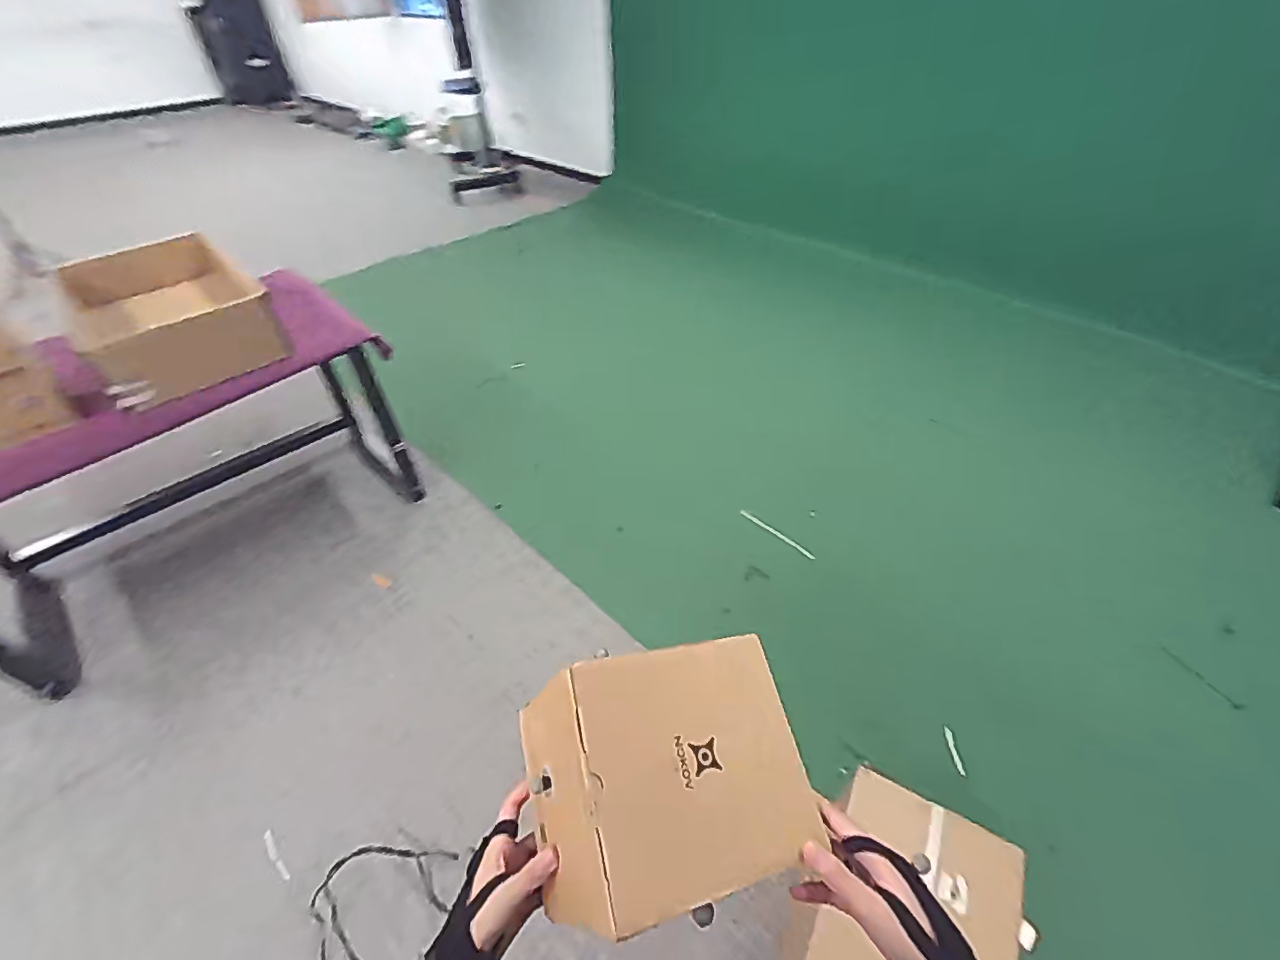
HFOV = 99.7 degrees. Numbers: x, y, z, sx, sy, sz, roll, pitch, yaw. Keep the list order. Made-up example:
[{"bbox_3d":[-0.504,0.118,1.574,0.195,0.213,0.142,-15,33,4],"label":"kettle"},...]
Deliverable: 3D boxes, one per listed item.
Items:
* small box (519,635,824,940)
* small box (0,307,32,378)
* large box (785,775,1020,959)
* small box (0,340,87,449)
[{"bbox_3d":[0.010,0.247,0.456,0.179,0.176,0.168,-2,57,-26],"label":"small box"},{"bbox_3d":[-1.445,-0.305,1.137,0.179,0.176,0.168,-33,51,-30],"label":"small box"},{"bbox_3d":[0.484,0.890,1.044,0.320,0.320,0.408,22,47,22],"label":"large box"},{"bbox_3d":[-1.446,-0.194,1.258,0.168,0.176,0.179,-33,51,-30],"label":"small box"}]
